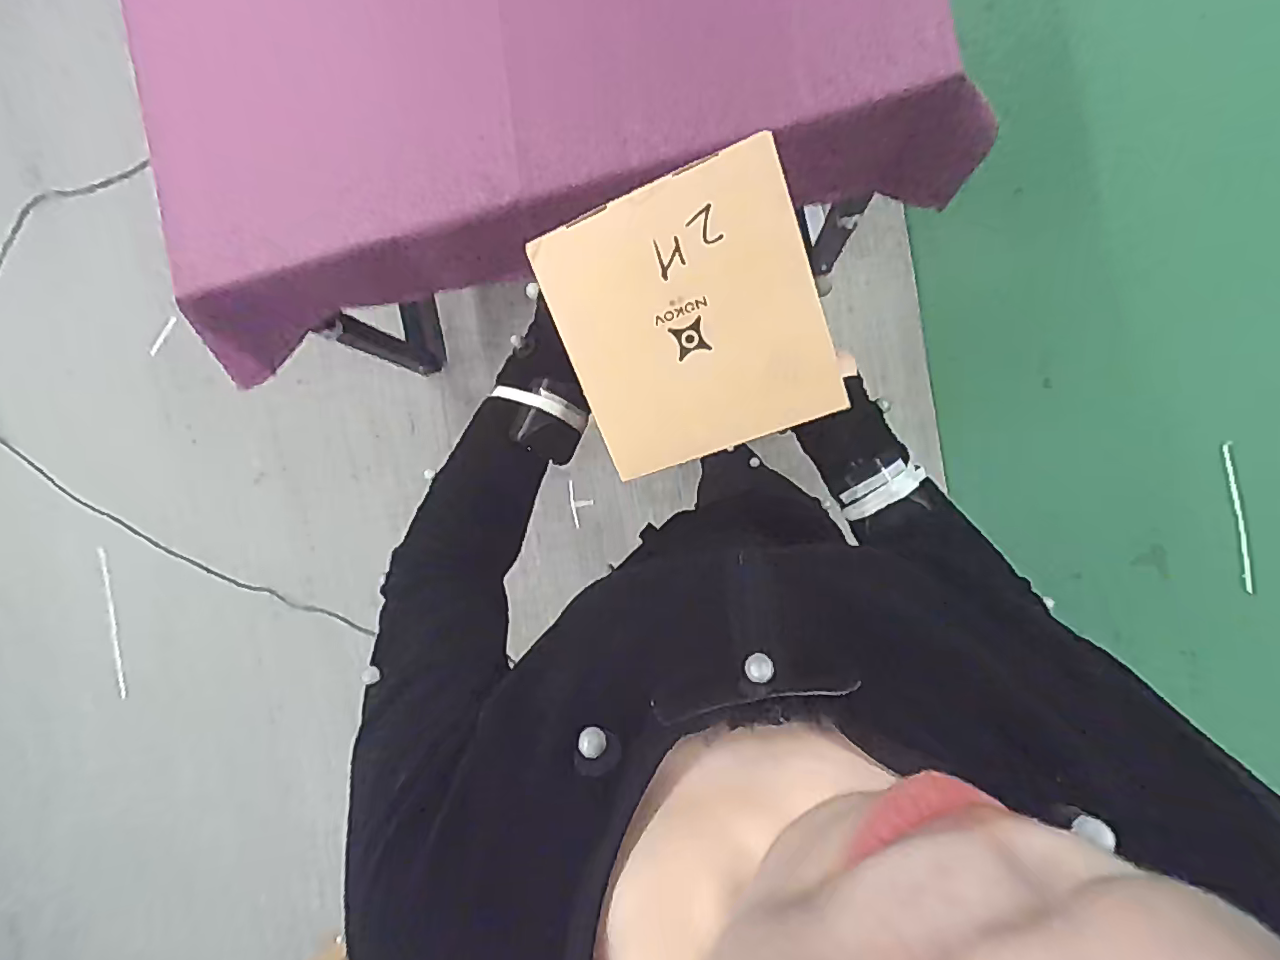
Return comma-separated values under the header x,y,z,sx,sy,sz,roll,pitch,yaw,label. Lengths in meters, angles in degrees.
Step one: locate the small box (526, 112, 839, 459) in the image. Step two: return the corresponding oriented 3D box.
x,y,z,sx,sy,sz,roll,pitch,yaw,label
0.041,-0.140,0.430,0.168,0.176,0.179,-18,103,14,small box
